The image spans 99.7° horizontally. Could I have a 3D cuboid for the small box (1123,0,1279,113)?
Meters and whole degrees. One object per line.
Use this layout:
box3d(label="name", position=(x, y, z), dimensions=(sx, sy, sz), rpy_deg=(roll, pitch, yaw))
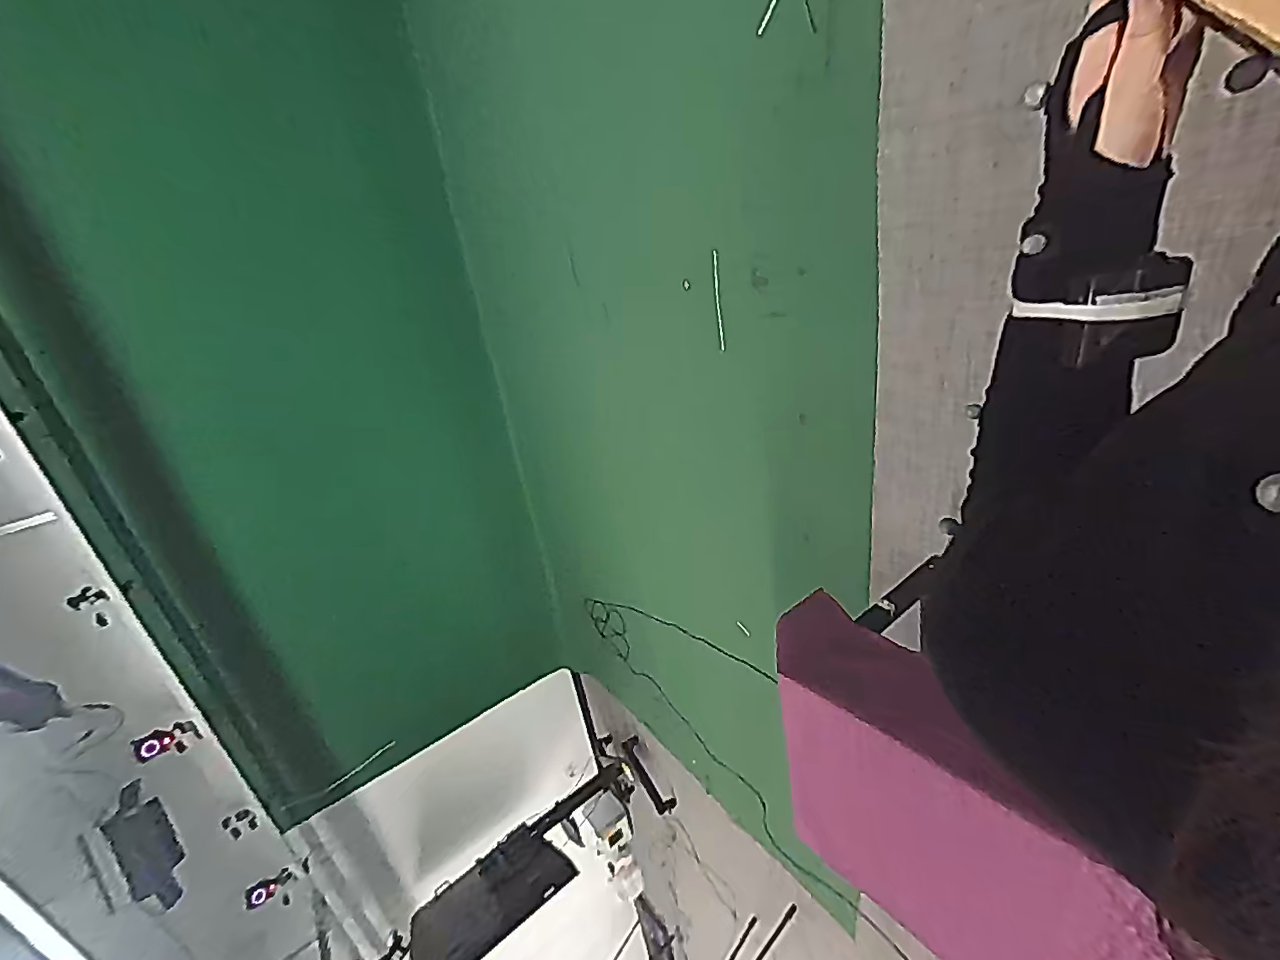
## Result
box3d(label="small box", position=(0.367, -0.250, 0.223), dimensions=(0.179, 0.176, 0.168), rpy_deg=(-54, 51, 49))
